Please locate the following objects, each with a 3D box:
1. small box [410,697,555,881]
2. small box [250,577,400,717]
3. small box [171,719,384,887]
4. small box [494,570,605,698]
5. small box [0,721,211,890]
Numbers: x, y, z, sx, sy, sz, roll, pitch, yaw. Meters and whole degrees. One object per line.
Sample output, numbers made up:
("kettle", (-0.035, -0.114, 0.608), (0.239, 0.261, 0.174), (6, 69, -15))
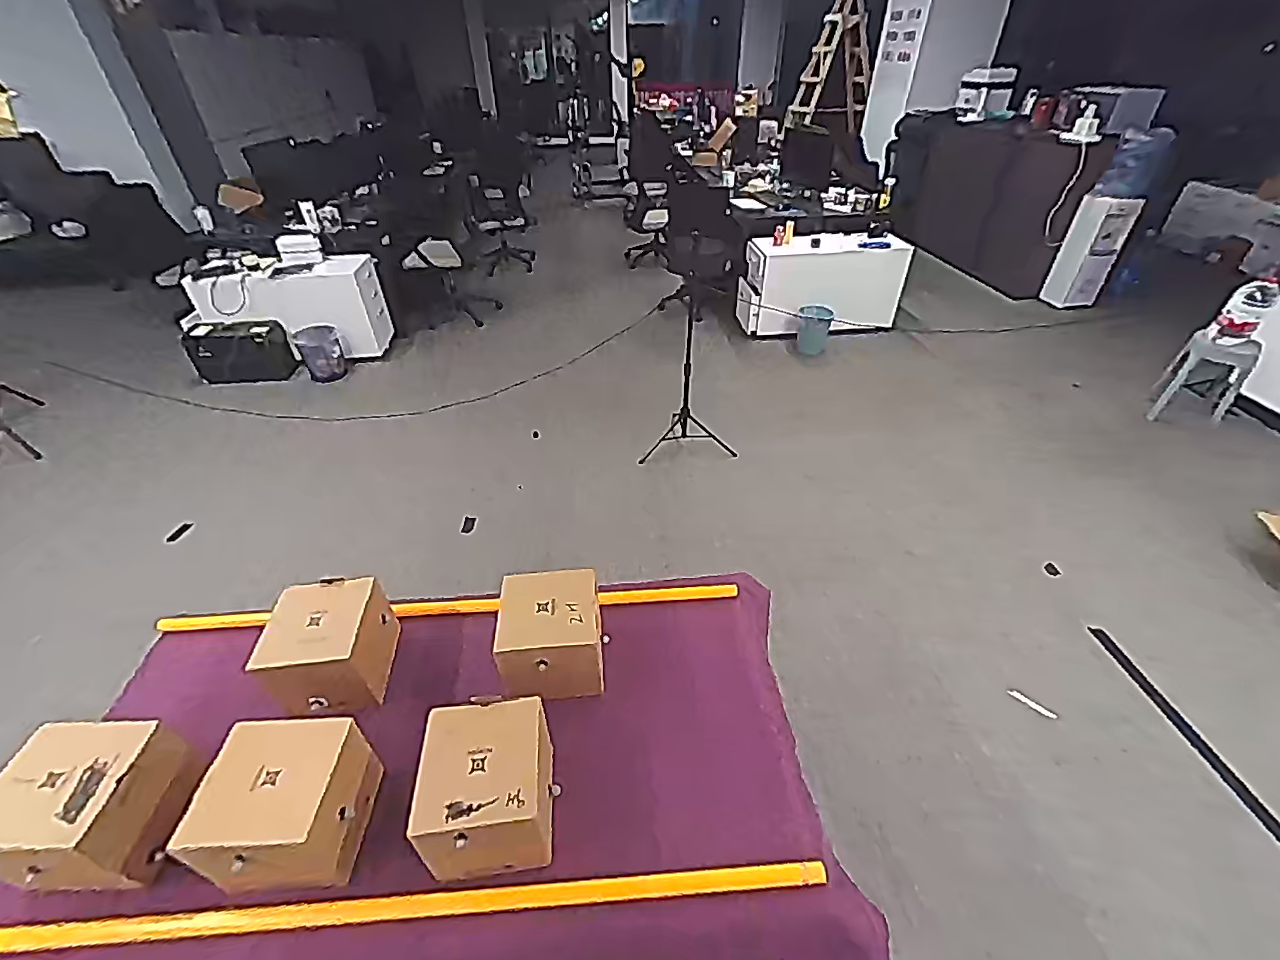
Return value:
("small box", (-0.218, 0.454, 0.802), (0.168, 0.176, 0.179), (-5, 36, -5))
("small box", (-0.561, 0.305, 0.995), (0.168, 0.176, 0.179), (-5, 40, -5))
("small box", (-0.503, 0.470, 0.789), (0.179, 0.176, 0.168), (-3, 38, -1))
("small box", (-0.160, 0.288, 1.007), (0.179, 0.176, 0.168), (-3, 40, -3))
("small box", (-0.786, 0.472, 0.786), (0.179, 0.176, 0.168), (-1, 39, 0))
